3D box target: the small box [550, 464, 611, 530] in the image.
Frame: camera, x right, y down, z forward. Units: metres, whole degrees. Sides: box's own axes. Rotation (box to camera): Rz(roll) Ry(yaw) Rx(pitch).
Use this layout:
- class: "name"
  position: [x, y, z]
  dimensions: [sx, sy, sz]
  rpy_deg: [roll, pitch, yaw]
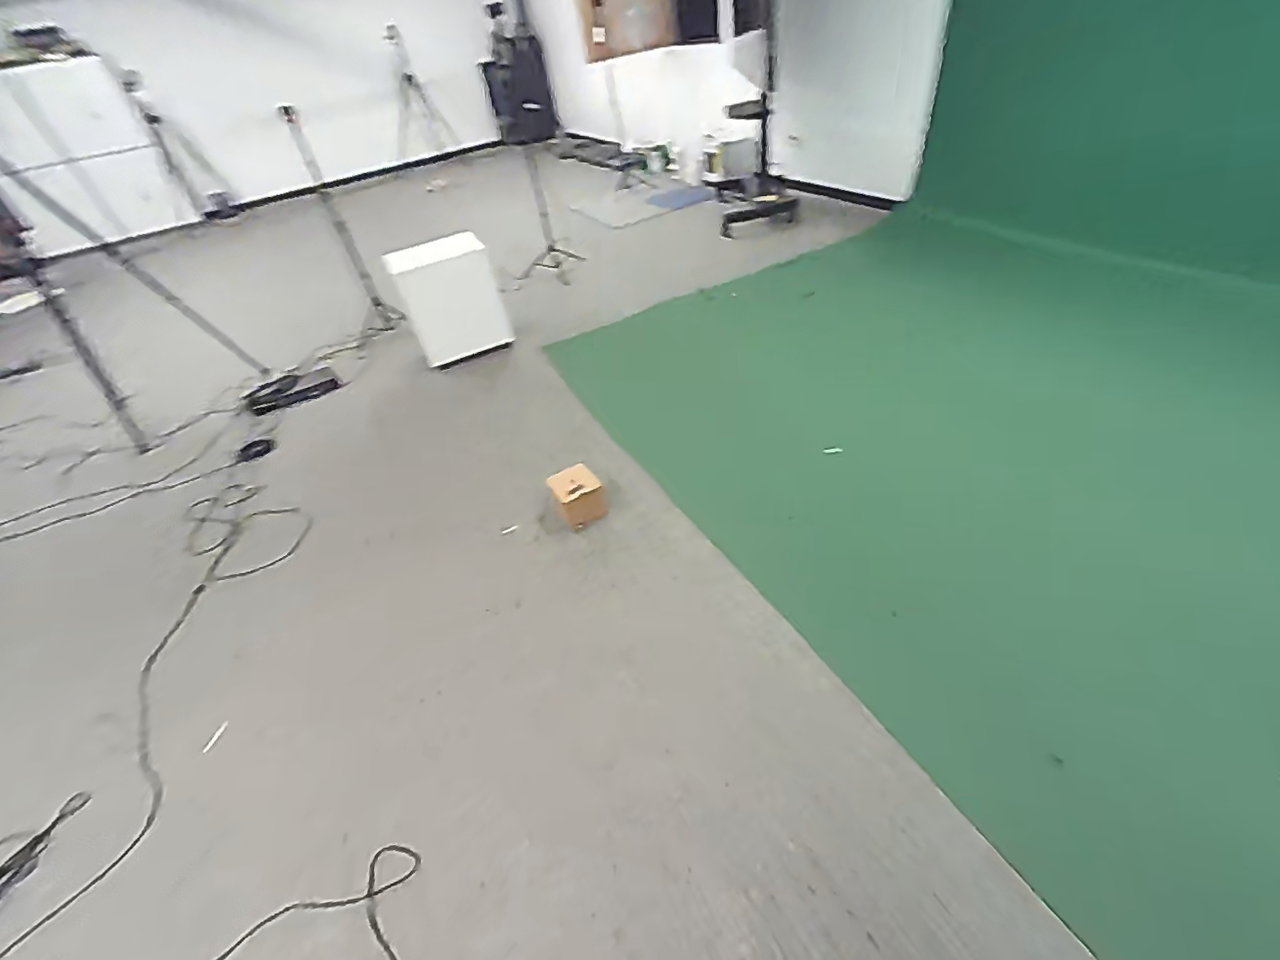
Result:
- class: "small box"
  position: [-0.230, 0.075, 2.122]
  dimensions: [0.168, 0.176, 0.179]
  rpy_deg: [-26, 43, -18]
